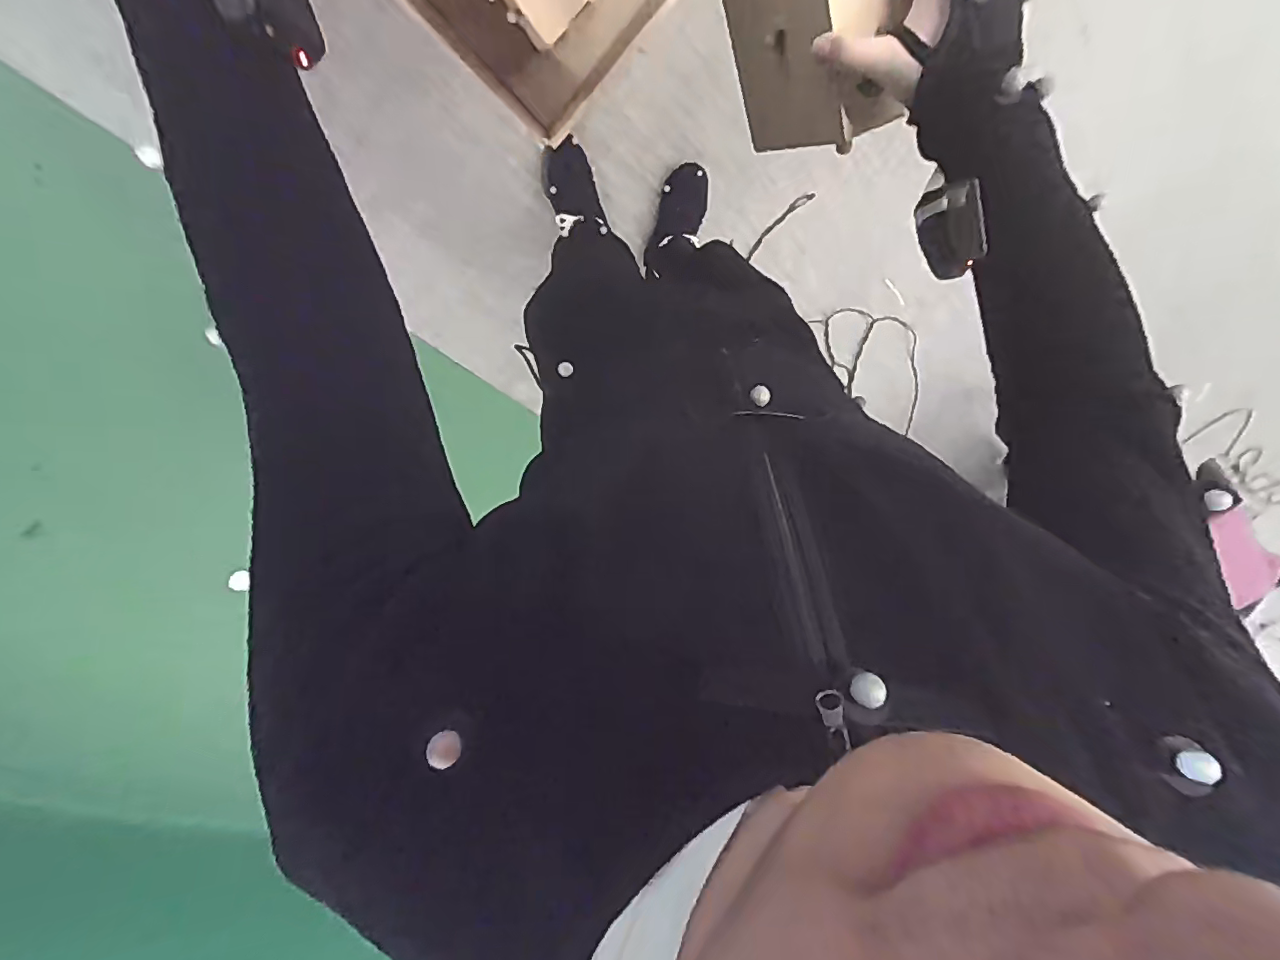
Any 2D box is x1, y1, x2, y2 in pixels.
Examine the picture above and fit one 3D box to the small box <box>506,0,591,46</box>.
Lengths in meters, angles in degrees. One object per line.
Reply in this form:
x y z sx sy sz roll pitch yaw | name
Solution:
-0.102 -0.600 0.560 0.168 0.176 0.179 -35 127 15 | small box
